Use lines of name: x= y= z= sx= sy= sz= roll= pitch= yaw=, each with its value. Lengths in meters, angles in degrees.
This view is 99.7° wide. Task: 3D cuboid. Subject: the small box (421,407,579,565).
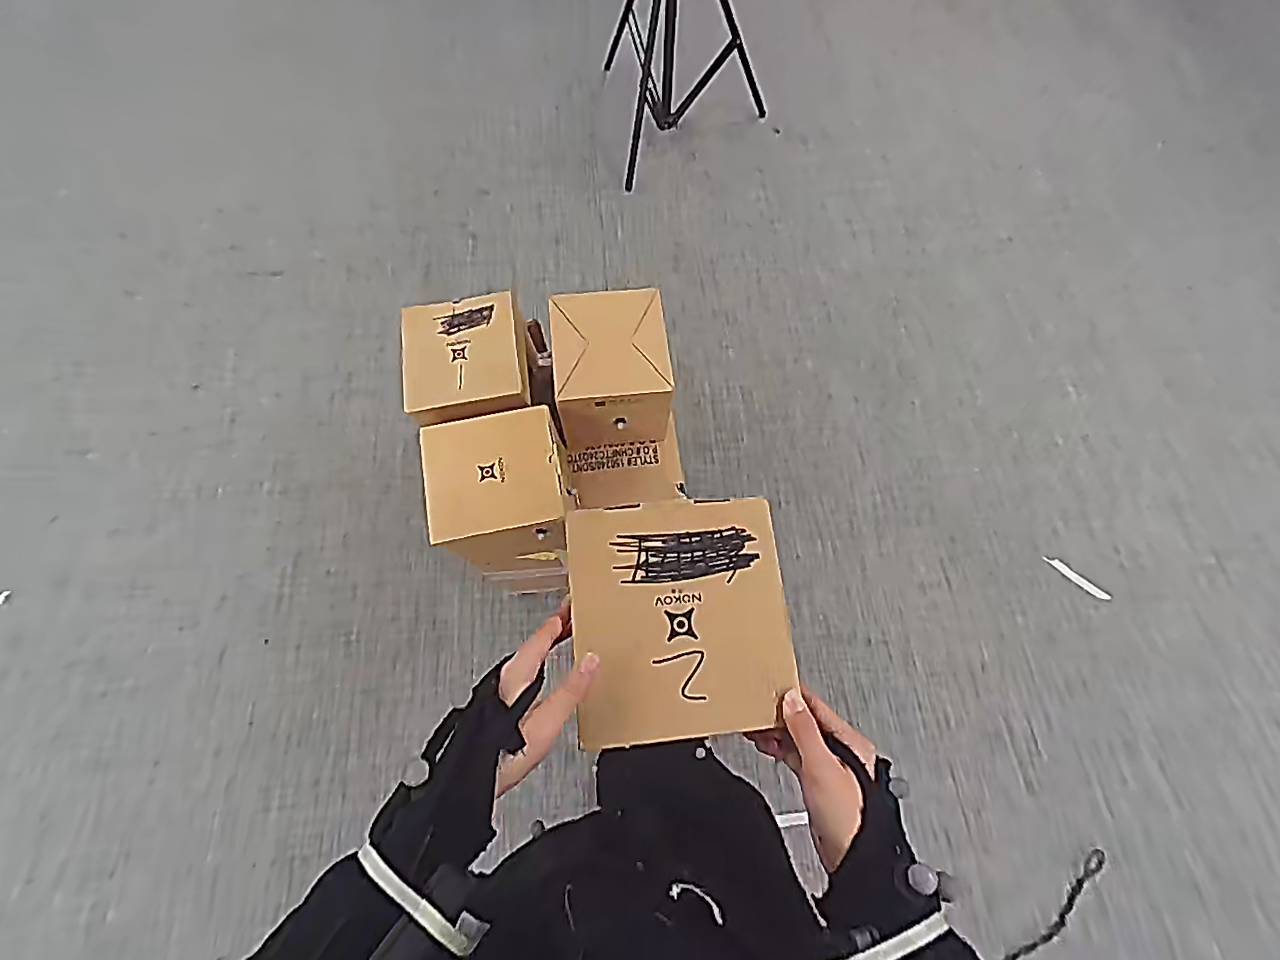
small box: x=-0.194 y=0.017 z=0.783 sx=0.179 sy=0.176 sz=0.168 roll=-12 pitch=72 yaw=-4

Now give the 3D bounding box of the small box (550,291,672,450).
small box: x=-0.046 y=-0.165 z=0.844 sx=0.168 sy=0.176 sz=0.179 roll=-6 pitch=70 yaw=-5
